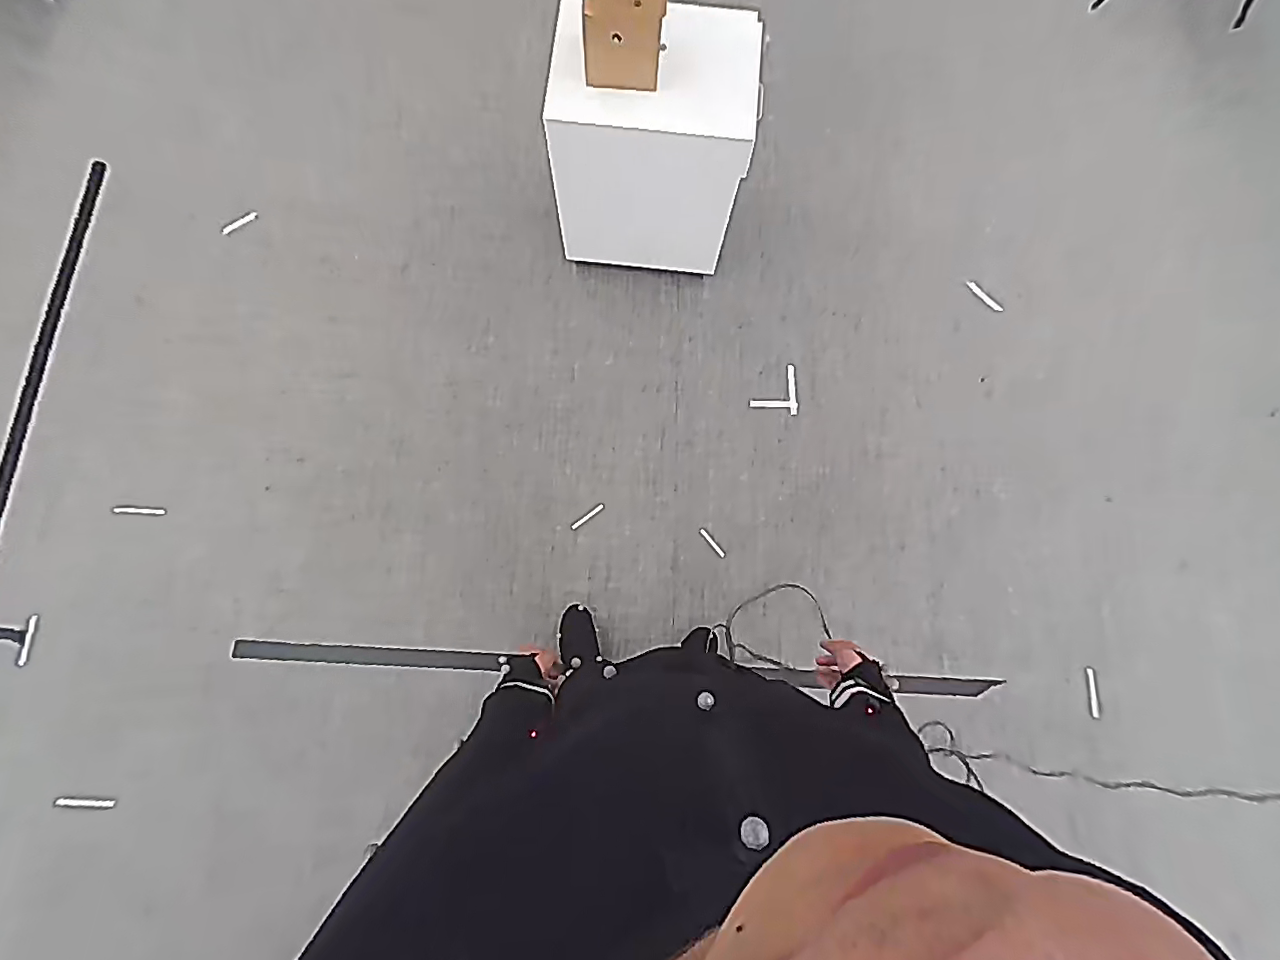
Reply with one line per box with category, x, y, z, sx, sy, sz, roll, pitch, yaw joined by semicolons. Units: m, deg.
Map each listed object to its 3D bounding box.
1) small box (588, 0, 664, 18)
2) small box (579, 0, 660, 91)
small box;-0.024;-1.100;1.108;0.168;0.176;0.179;4;77;-1
small box;-0.044;-1.052;1.262;0.179;0.176;0.168;3;78;-2
